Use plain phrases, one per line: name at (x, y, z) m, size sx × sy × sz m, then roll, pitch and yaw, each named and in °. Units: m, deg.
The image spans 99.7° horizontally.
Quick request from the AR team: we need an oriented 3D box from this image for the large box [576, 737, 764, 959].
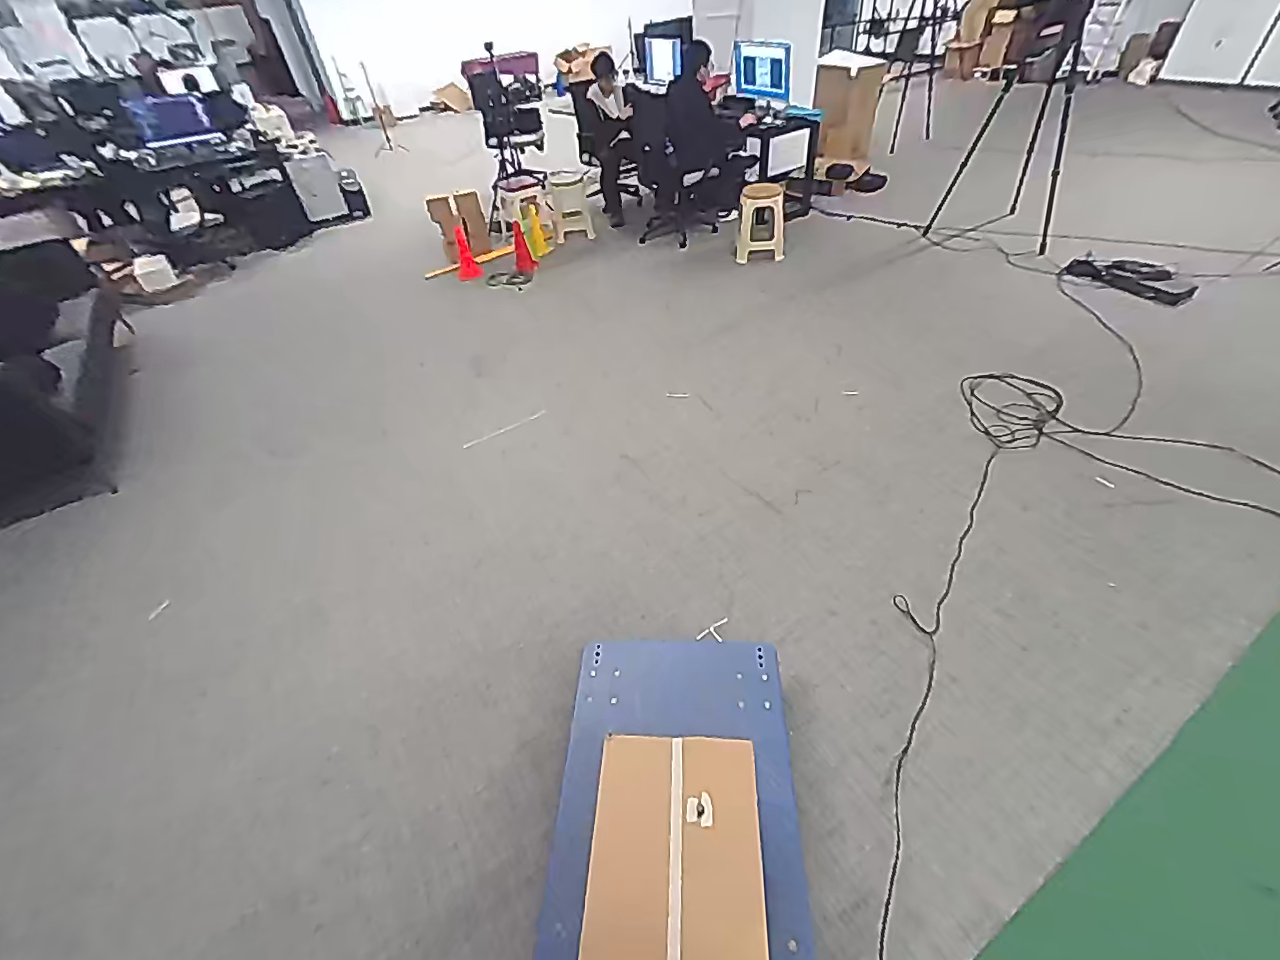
large box at (0.071, 0.799, 1.109) m, size 0.320 × 0.320 × 0.408 m, roll 0°, pitch 42°, yaw 6°
